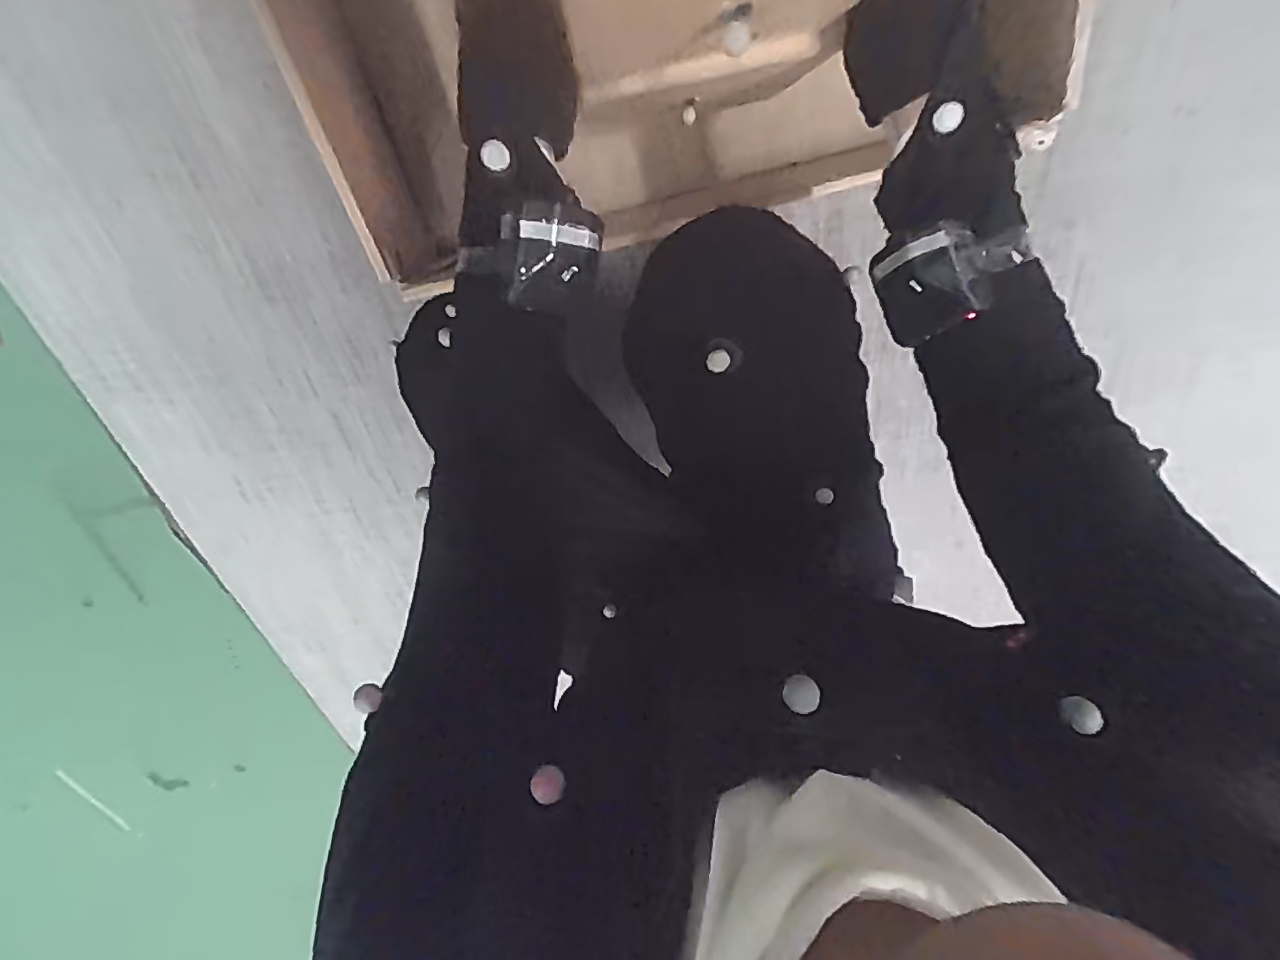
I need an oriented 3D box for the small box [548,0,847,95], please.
[{"bbox_3d":[0.022,-0.314,0.260,0.168,0.176,0.179,-14,114,4],"label":"small box"}]
